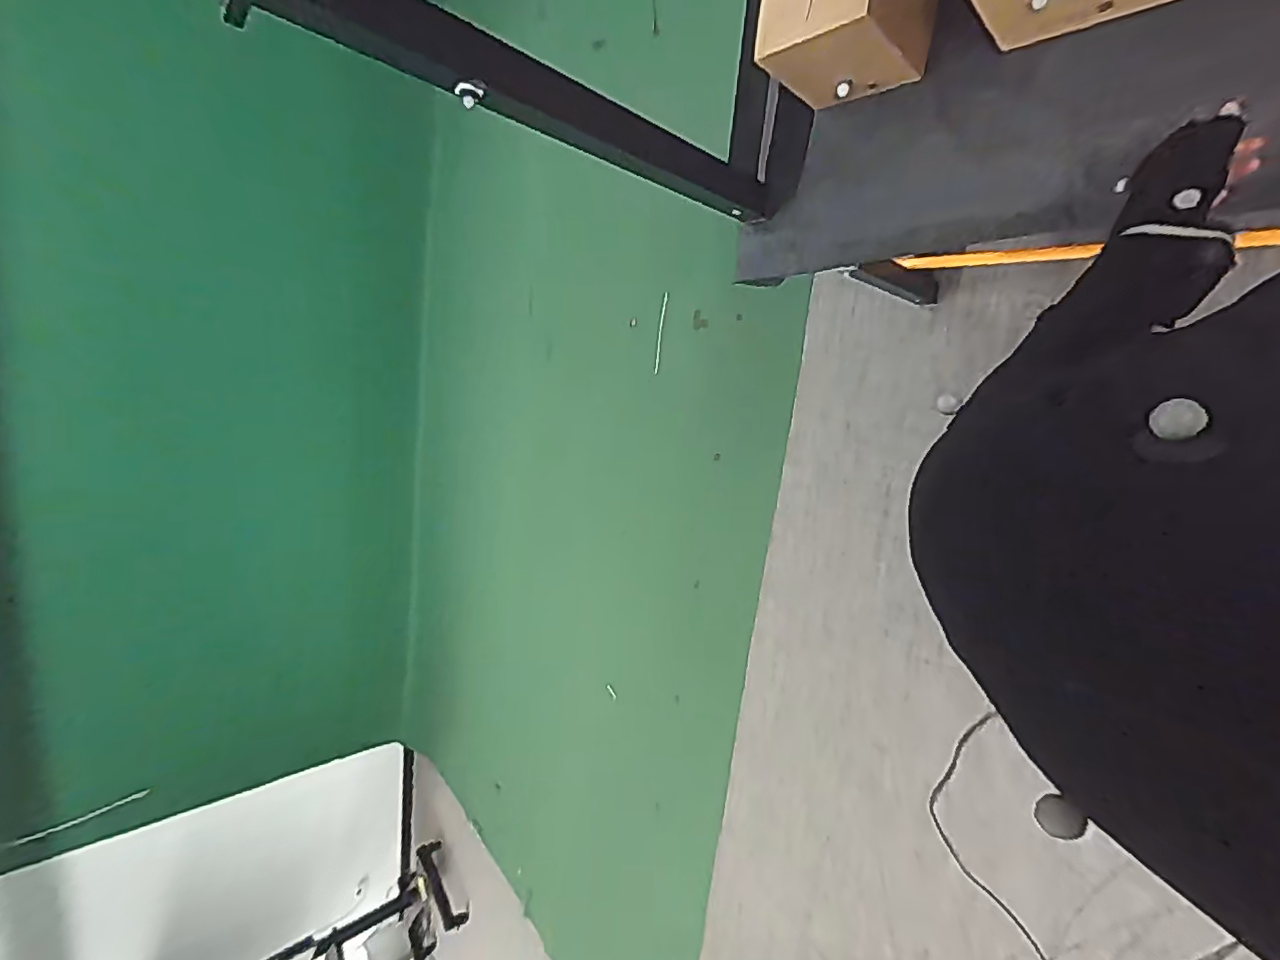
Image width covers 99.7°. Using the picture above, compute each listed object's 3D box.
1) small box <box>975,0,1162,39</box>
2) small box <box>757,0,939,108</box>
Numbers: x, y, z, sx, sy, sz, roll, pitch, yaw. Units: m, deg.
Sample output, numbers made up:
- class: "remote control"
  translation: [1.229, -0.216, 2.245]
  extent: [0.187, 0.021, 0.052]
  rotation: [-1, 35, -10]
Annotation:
- class: "small box"
  translation: [0.454, -0.592, 0.543]
  extent: [0.168, 0.176, 0.179]
  rotation: [18, 105, 46]
- class: "small box"
  translation: [0.285, -0.644, 0.724]
  extent: [0.168, 0.176, 0.179]
  rotation: [19, 107, 46]
